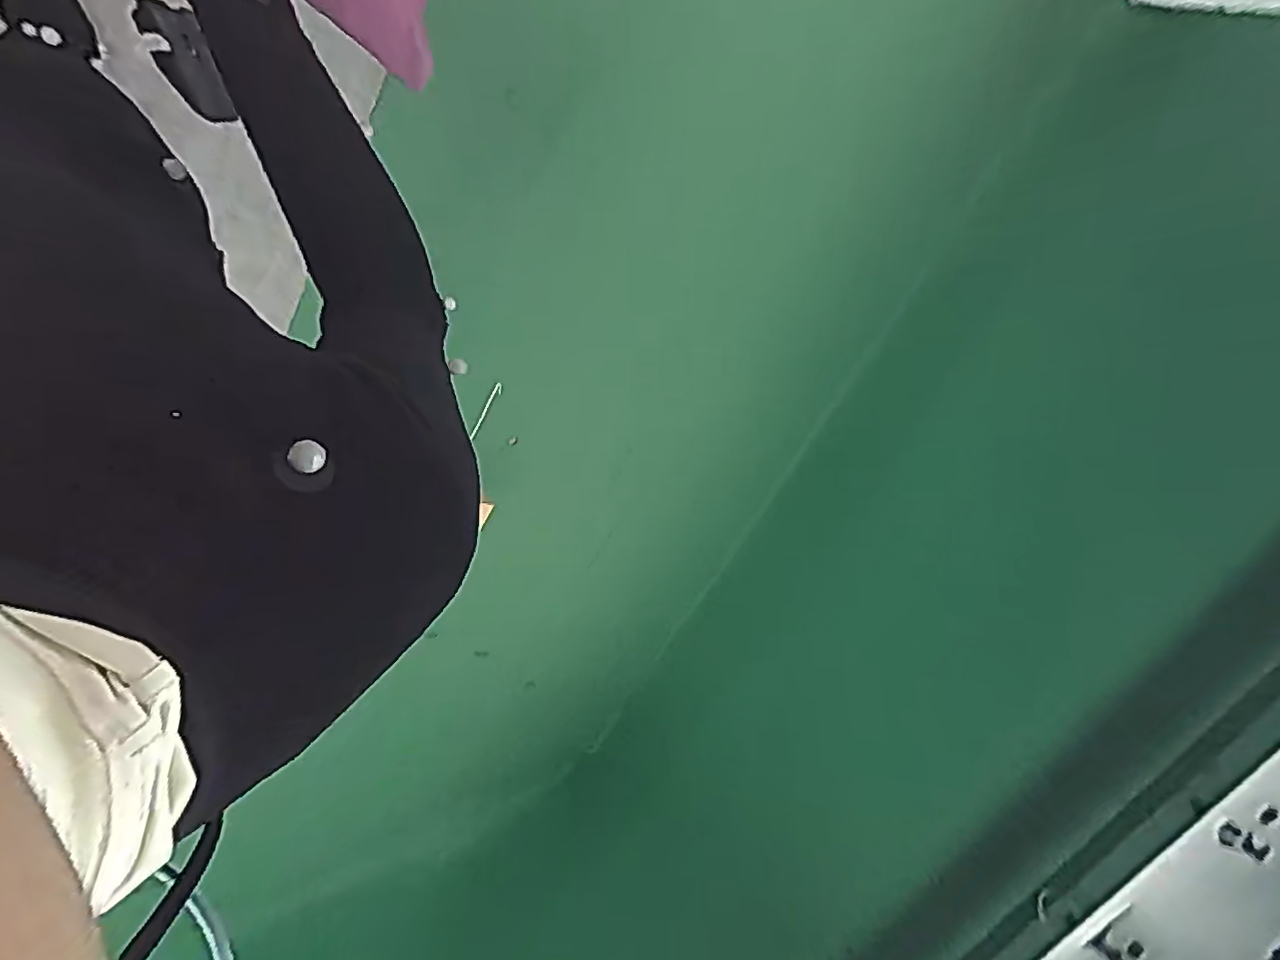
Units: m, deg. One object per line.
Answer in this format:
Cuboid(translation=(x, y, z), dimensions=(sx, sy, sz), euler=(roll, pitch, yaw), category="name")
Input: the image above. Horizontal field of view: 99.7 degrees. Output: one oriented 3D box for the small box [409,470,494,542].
Cuboid(translation=(-0.623, 0.085, 1.780), dimensions=(0.179, 0.176, 0.168), euler=(15, 111, -52), category="small box")
